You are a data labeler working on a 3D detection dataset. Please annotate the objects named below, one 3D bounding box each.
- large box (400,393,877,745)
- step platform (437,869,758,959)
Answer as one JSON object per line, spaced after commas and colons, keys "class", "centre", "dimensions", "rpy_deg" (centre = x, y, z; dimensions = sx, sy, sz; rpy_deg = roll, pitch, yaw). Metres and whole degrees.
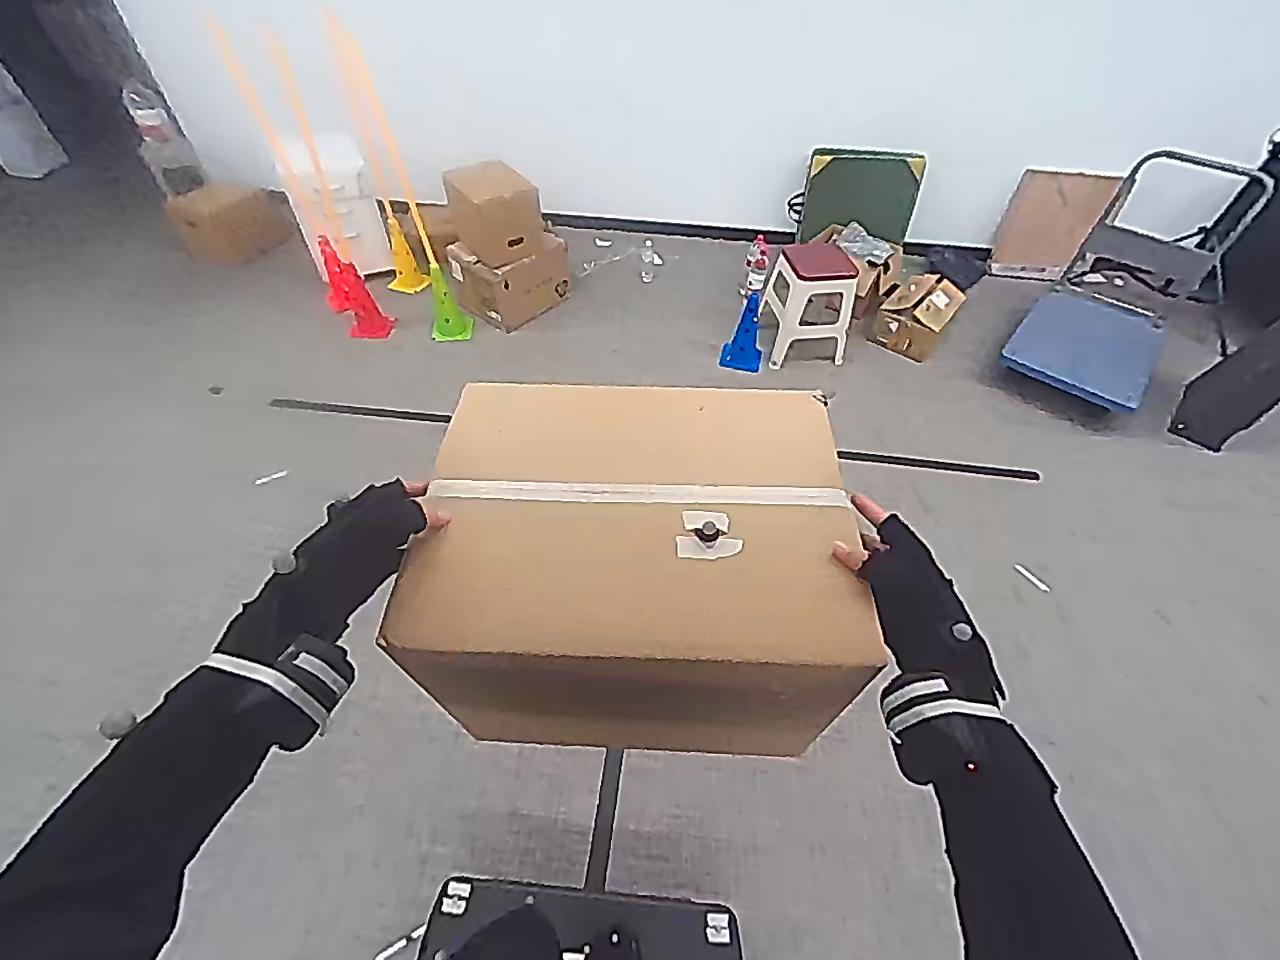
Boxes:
{"class": "large box", "centre": [0.000, 0.114, 0.650], "dimensions": [0.408, 0.320, 0.320], "rpy_deg": [2, 52, 1]}
{"class": "step platform", "centre": [-0.088, 1.047, 1.169], "dimensions": [0.684, 0.204, 0.286], "rpy_deg": [5, 50, 1]}
